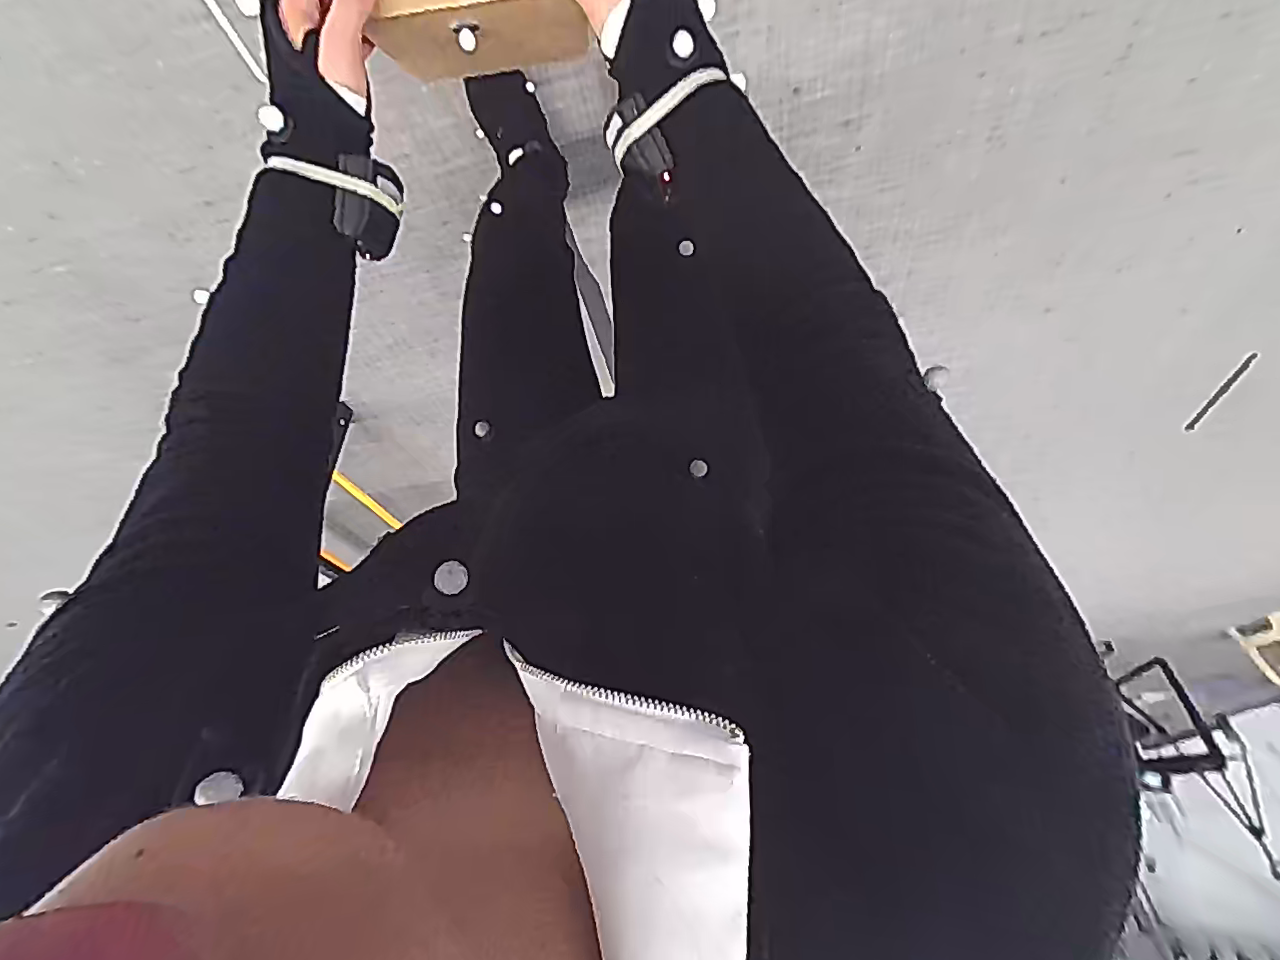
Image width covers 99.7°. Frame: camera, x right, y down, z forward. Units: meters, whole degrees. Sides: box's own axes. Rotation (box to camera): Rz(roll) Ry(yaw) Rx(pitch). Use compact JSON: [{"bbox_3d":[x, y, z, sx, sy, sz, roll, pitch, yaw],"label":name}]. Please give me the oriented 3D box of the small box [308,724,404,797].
[{"bbox_3d":[-0.828,0.825,1.595,0.168,0.176,0.179,-9,144,8],"label":"small box"}]
